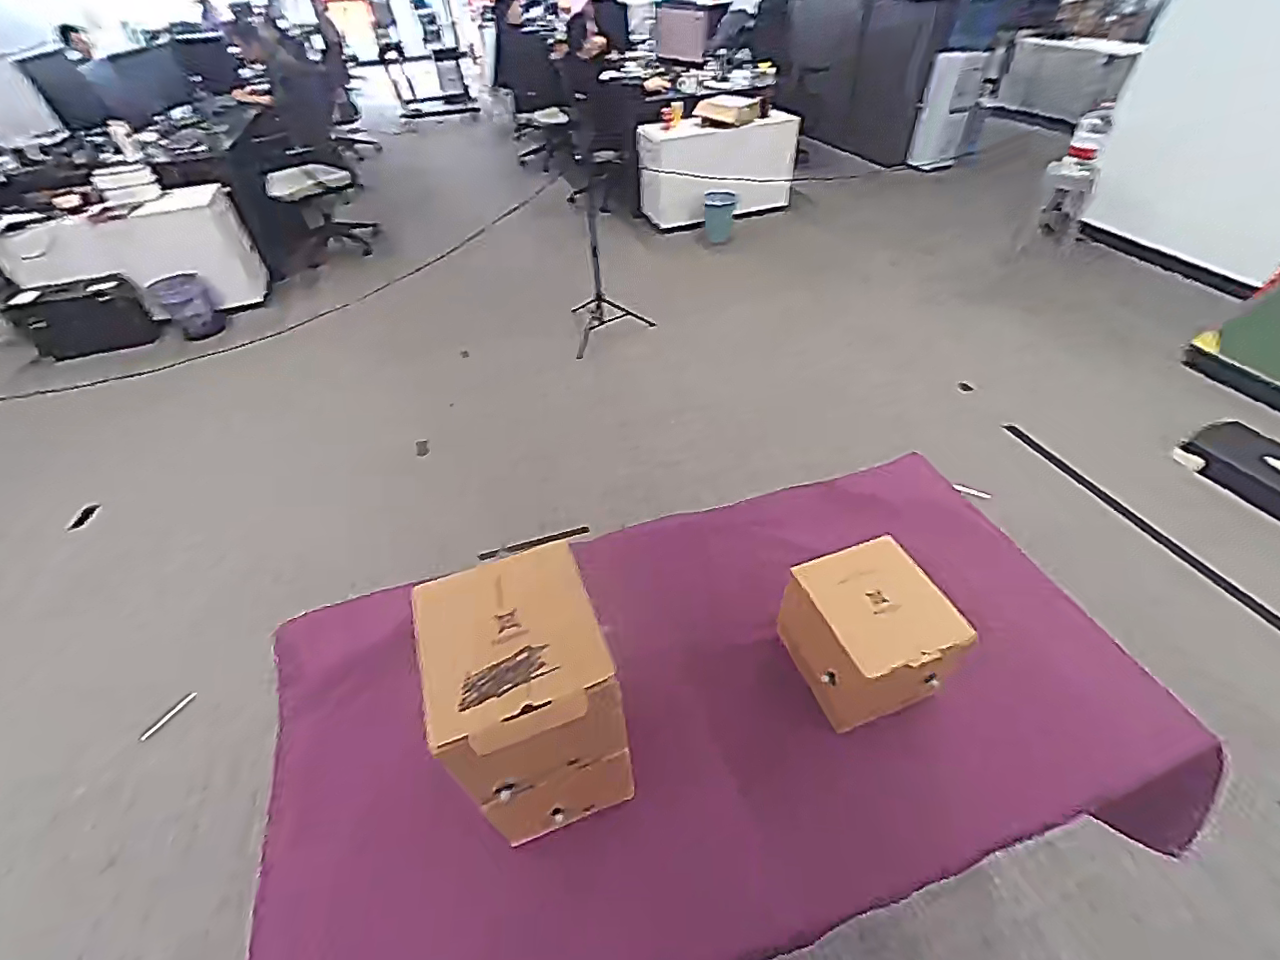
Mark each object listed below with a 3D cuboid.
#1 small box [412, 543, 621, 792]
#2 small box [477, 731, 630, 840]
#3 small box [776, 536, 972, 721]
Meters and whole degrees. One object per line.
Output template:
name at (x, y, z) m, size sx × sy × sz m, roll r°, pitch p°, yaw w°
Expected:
small box at (-0.125, 0.203, 0.574) m, size 0.168 × 0.176 × 0.179 m, roll -17°, pitch 46°, yaw -14°
small box at (-0.117, 0.319, 0.690) m, size 0.168 × 0.176 × 0.179 m, roll -16°, pitch 47°, yaw -13°
small box at (0.313, 0.215, 0.765) m, size 0.168 × 0.176 × 0.179 m, roll -16°, pitch 46°, yaw -12°
